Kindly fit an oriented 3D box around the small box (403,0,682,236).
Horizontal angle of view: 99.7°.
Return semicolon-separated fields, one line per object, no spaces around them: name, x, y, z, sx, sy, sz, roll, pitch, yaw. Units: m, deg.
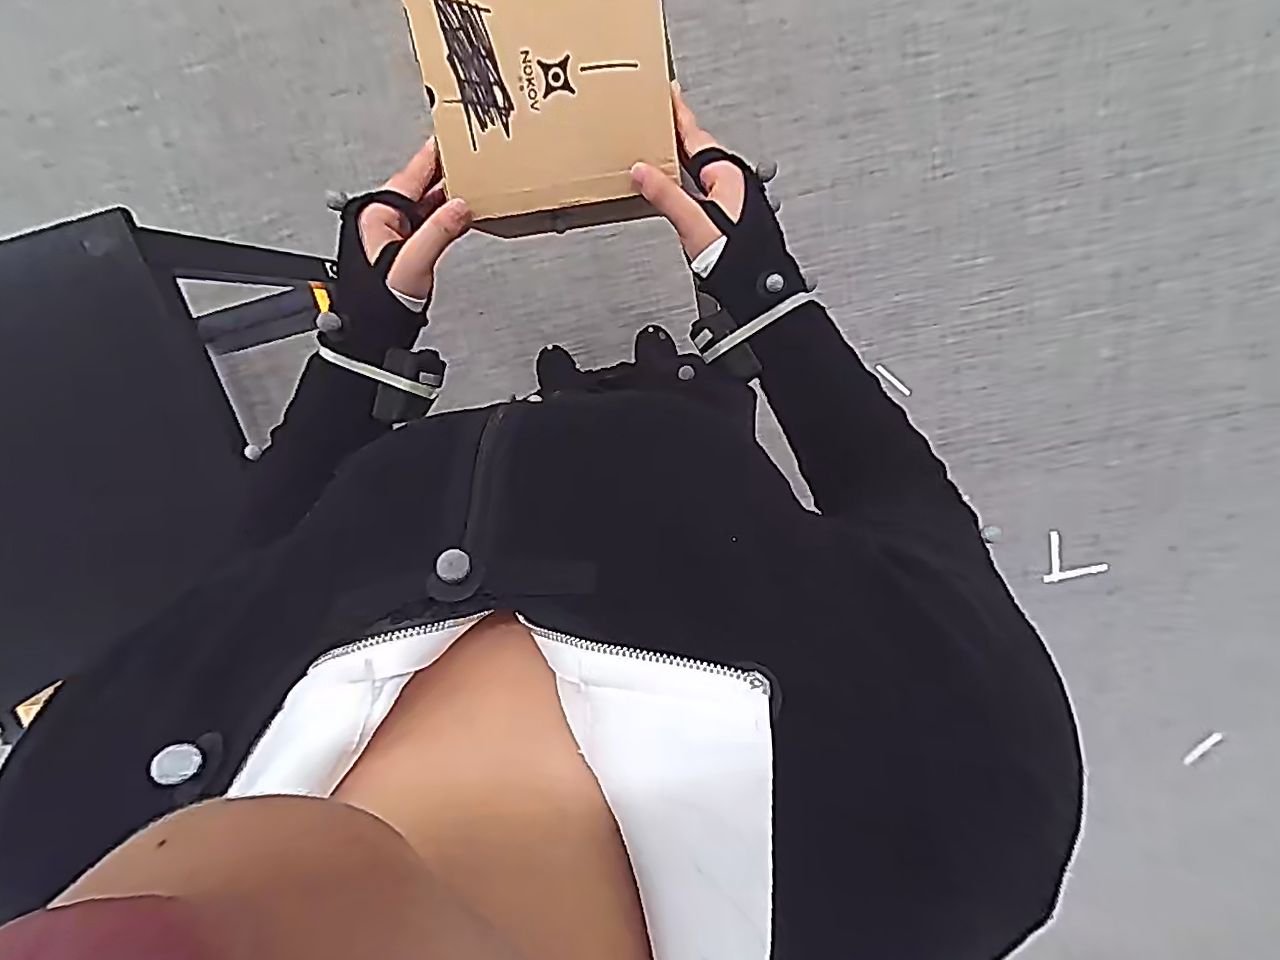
small box;-0.063;-0.305;0.445;0.179;0.176;0.168;-7;110;3

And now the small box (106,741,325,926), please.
small box;-0.642;0.541;0.843;0.179;0.176;0.168;-12;107;5

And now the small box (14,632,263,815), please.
small box;-0.703;0.338;0.783;0.168;0.176;0.179;-10;106;6
